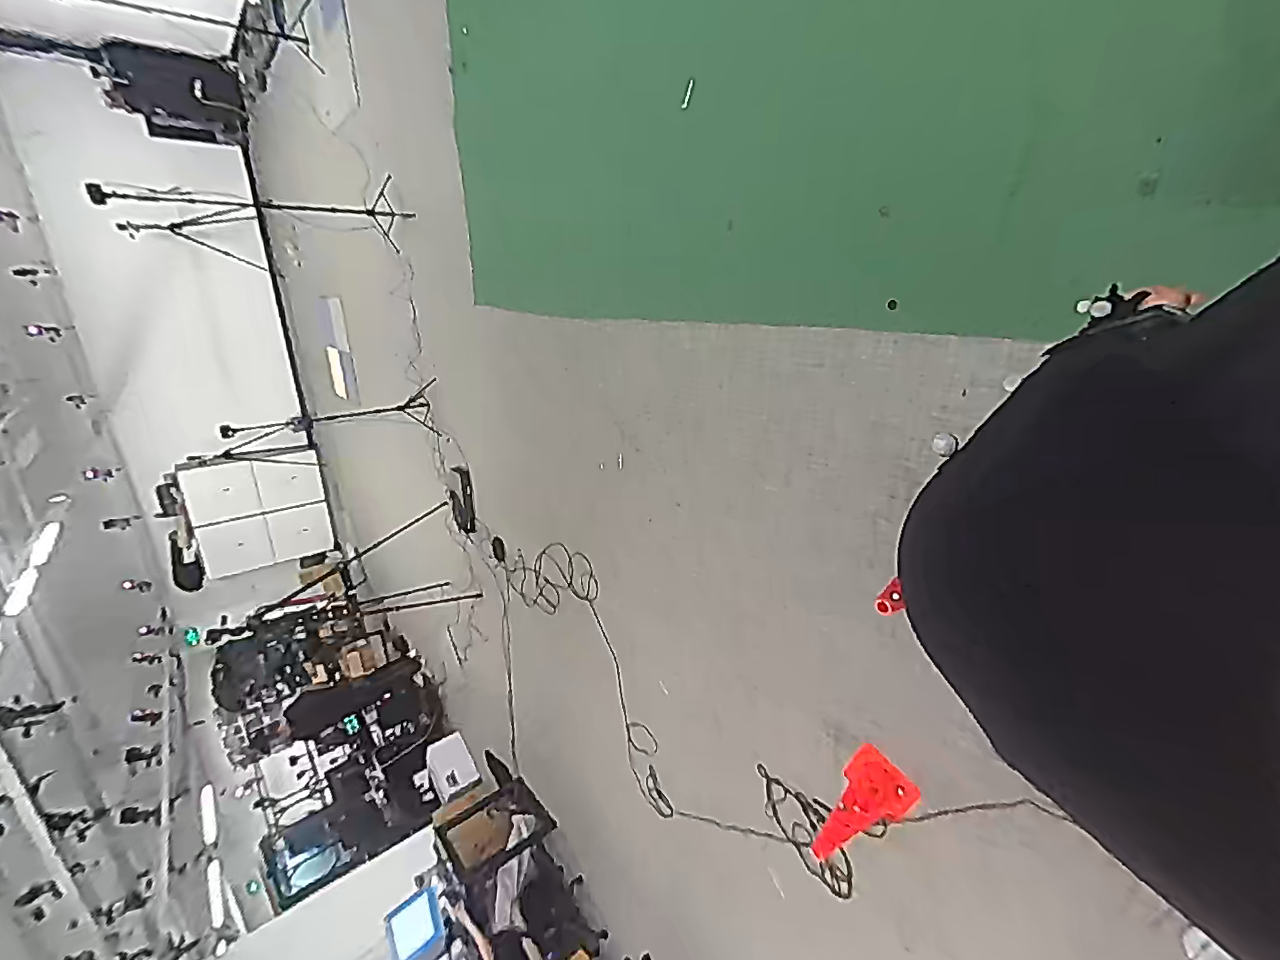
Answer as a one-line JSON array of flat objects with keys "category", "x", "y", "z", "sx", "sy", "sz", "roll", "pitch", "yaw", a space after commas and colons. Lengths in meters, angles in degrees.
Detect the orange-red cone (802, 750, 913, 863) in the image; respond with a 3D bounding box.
[{"category": "orange-red cone", "x": 0.597, "y": 1.003, "z": 1.591, "sx": 0.199, "sy": 0.360, "sz": 0.198, "roll": 45, "pitch": 133, "yaw": 36}]
